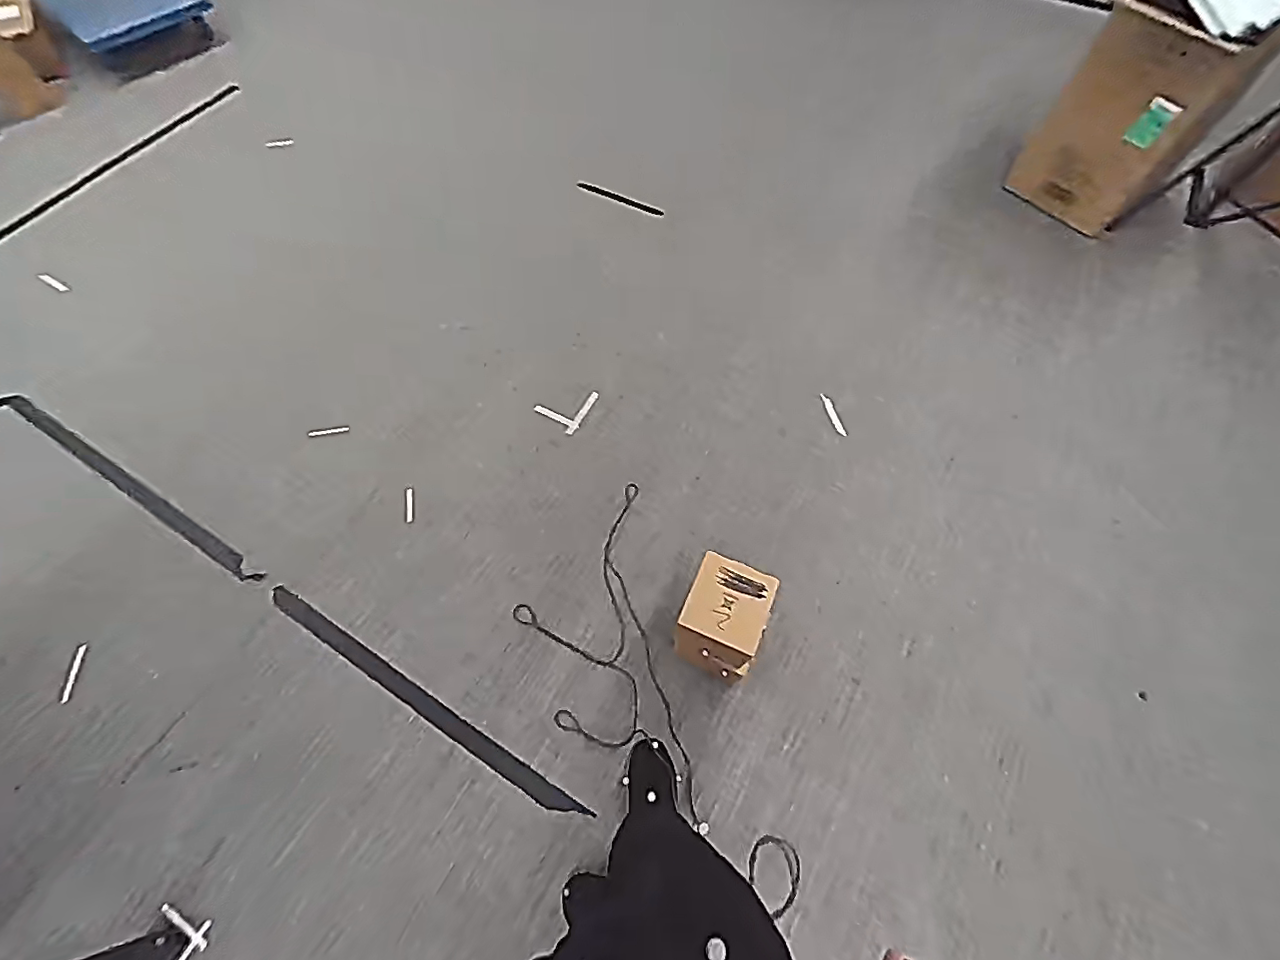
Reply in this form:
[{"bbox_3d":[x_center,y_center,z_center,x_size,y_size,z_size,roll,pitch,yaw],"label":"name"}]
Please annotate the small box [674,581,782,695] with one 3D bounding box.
[{"bbox_3d":[0.210,0.373,1.281,0.168,0.176,0.179,33,48,-4],"label":"small box"}]
